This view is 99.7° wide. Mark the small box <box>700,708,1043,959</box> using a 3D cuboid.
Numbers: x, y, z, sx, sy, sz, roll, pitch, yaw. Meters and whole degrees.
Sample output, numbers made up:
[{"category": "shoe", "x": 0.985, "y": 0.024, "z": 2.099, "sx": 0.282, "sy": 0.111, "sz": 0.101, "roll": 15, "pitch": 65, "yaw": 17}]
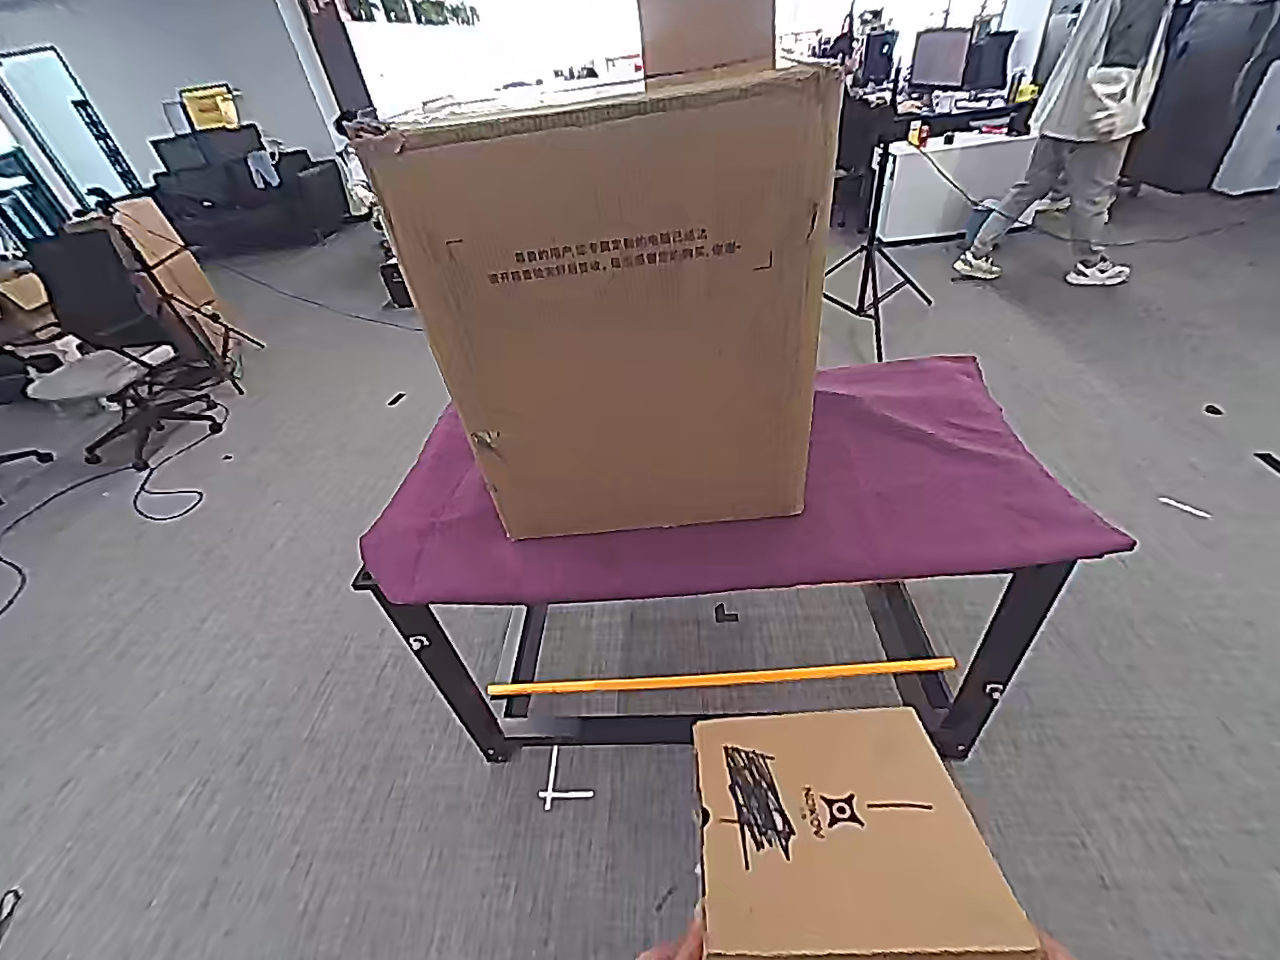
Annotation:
[{"category": "small box", "x": 0.141, "y": 0.294, "z": 0.388, "sx": 0.179, "sy": 0.176, "sz": 0.168, "roll": -6, "pitch": 22, "yaw": 6}]
